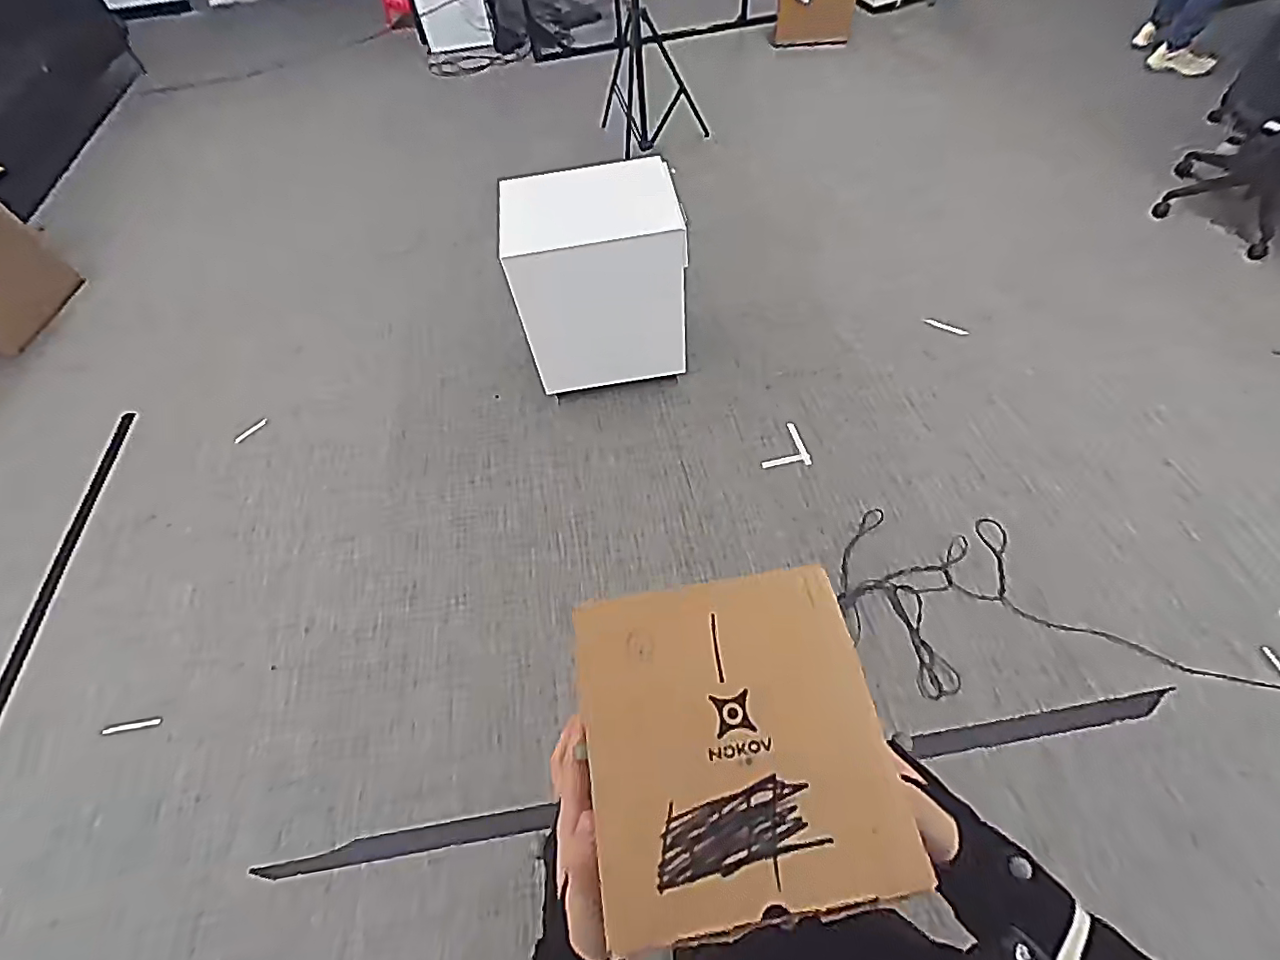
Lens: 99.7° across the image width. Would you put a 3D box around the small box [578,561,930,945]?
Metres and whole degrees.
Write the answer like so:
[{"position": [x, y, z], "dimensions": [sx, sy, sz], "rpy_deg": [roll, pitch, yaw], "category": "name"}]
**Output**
[{"position": [0.054, 0.176, 0.373], "dimensions": [0.168, 0.176, 0.179], "rpy_deg": [-8, 60, -4], "category": "small box"}]
